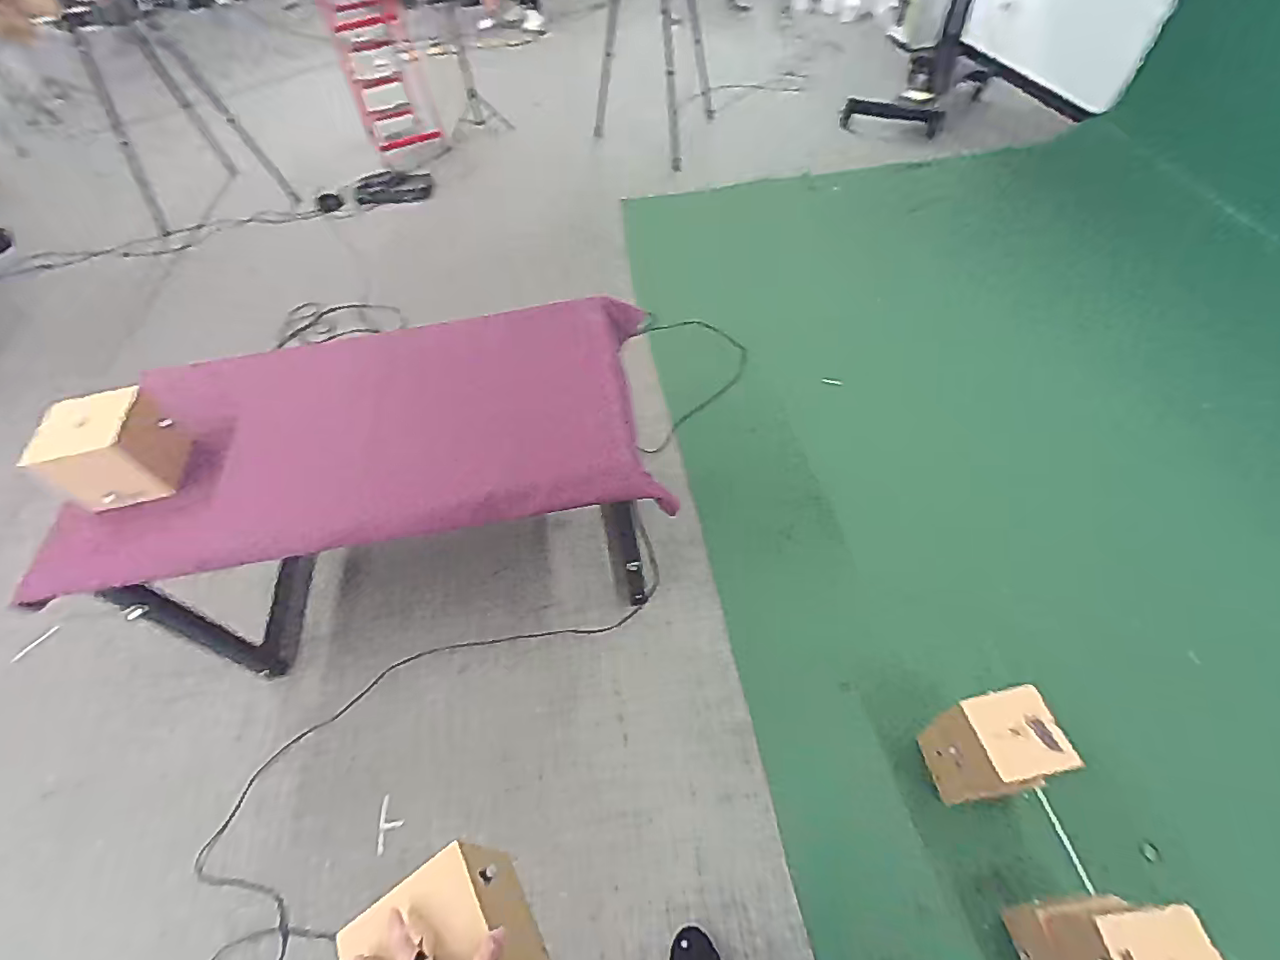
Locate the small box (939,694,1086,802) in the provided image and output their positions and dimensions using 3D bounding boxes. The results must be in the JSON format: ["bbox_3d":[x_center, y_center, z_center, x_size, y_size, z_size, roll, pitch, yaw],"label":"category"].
[{"bbox_3d":[0.801,0.591,1.187,0.179,0.176,0.168,-11,52,-3],"label":"small box"}]

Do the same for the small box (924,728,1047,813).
[{"bbox_3d":[0.821,0.696,1.313,0.179,0.176,0.168,-8,52,-2],"label":"small box"}]

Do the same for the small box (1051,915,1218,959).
[{"bbox_3d":[0.892,0.884,0.955,0.179,0.176,0.168,-6,53,0],"label":"small box"}]

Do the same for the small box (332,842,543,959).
[{"bbox_3d":[-0.237,0.594,0.665,0.168,0.176,0.179,-34,51,-12],"label":"small box"}]

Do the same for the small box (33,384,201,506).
[{"bbox_3d":[-1.081,-0.072,1.140,0.168,0.176,0.179,-13,54,-4],"label":"small box"}]
